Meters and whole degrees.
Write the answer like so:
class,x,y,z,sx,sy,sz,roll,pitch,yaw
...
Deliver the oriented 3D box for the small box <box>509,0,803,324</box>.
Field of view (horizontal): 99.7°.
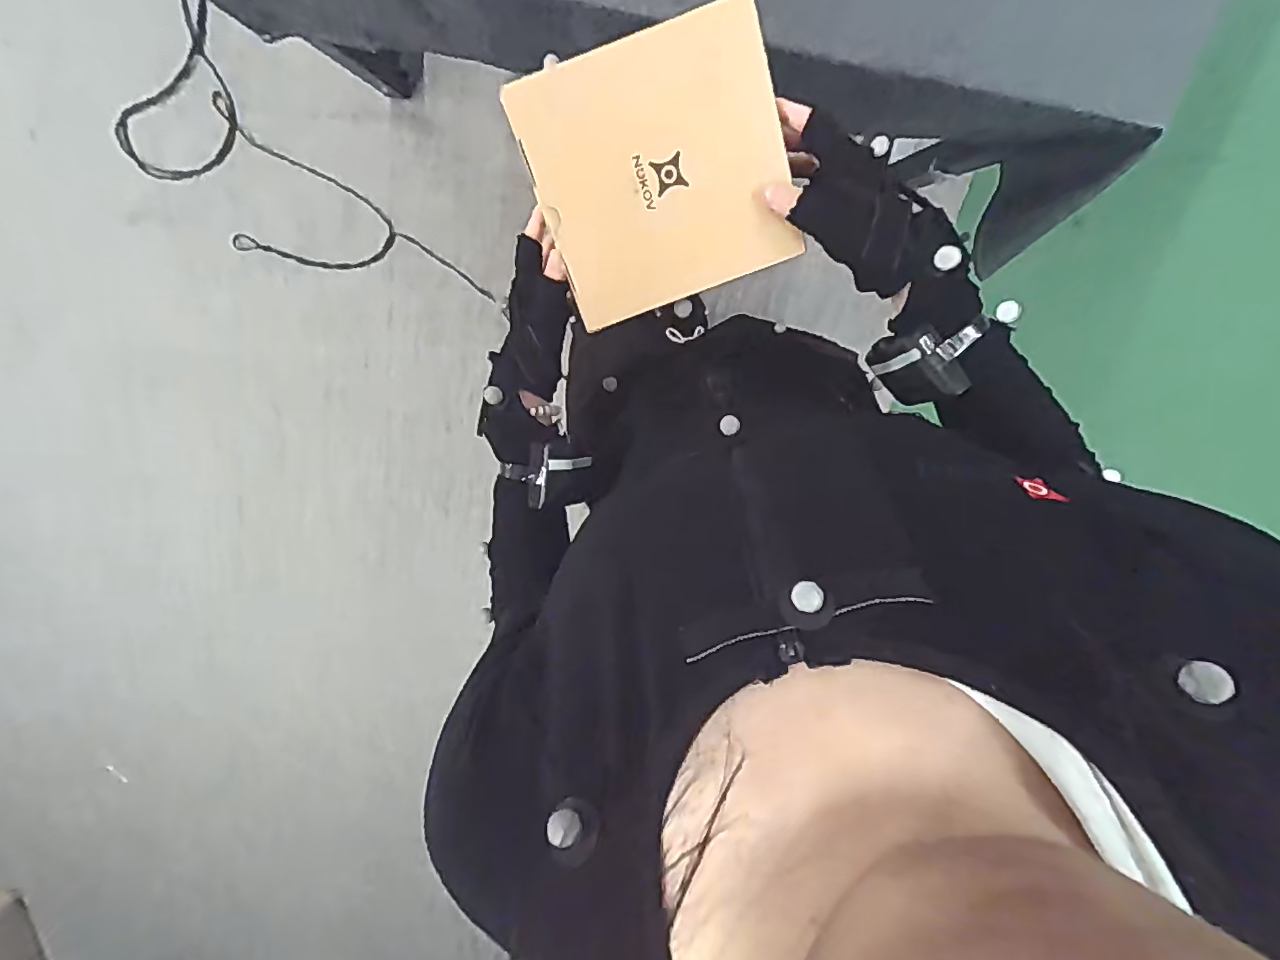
class,x,y,z,sx,sy,sz,roll,pitch,yaw
small box,0.011,-0.244,0.453,0.179,0.176,0.168,-18,111,3
